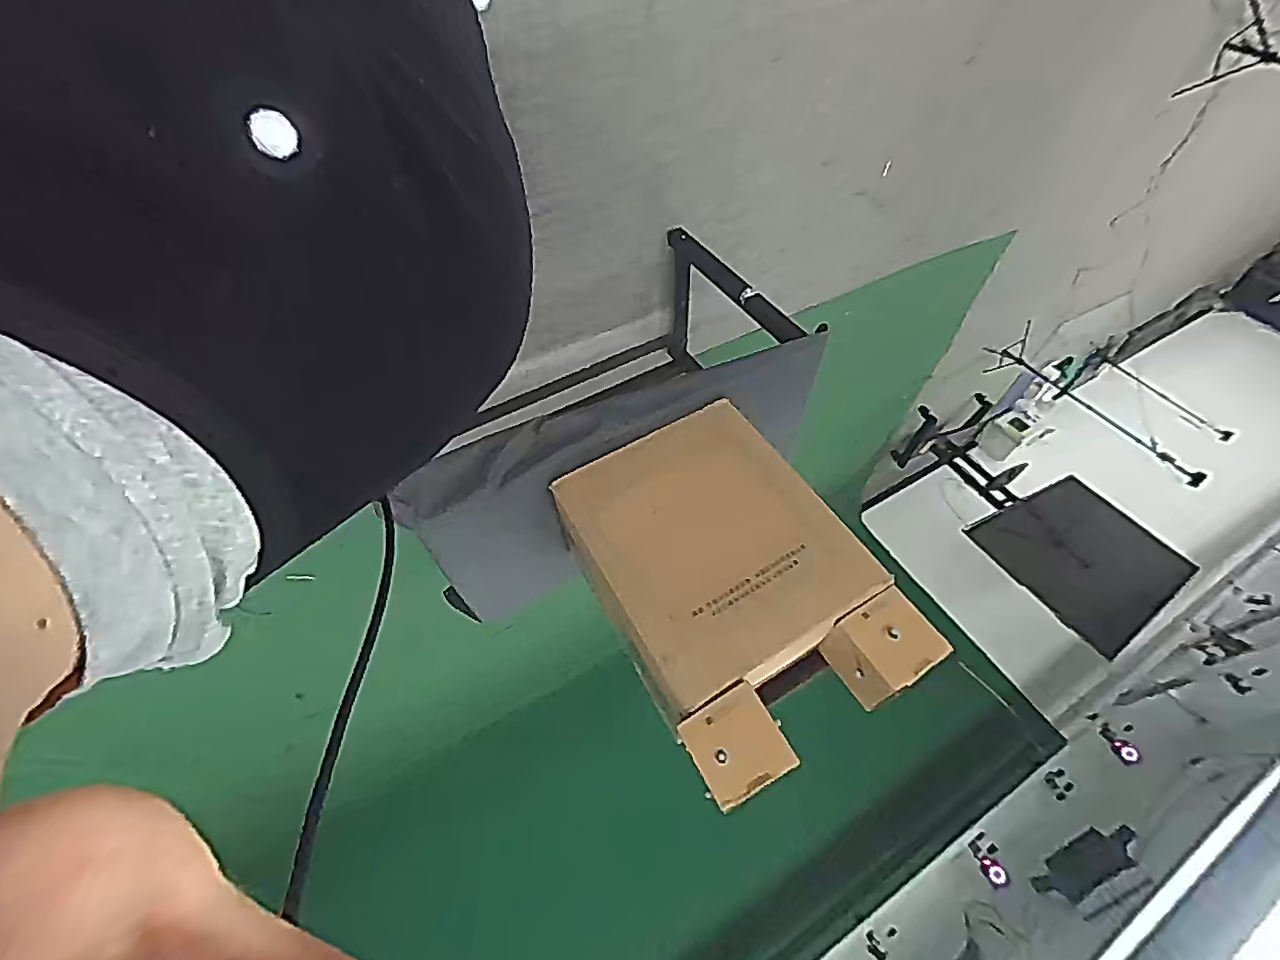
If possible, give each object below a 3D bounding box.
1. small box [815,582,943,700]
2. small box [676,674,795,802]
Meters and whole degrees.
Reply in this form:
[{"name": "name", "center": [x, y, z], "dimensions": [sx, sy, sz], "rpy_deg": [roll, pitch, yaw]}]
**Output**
[{"name": "small box", "center": [0.514, 0.349, 1.194], "dimensions": [0.168, 0.176, 0.179], "rpy_deg": [-28, 149, -16]}, {"name": "small box", "center": [0.184, 0.512, 1.080], "dimensions": [0.168, 0.176, 0.179], "rpy_deg": [-29, 151, -8]}]
